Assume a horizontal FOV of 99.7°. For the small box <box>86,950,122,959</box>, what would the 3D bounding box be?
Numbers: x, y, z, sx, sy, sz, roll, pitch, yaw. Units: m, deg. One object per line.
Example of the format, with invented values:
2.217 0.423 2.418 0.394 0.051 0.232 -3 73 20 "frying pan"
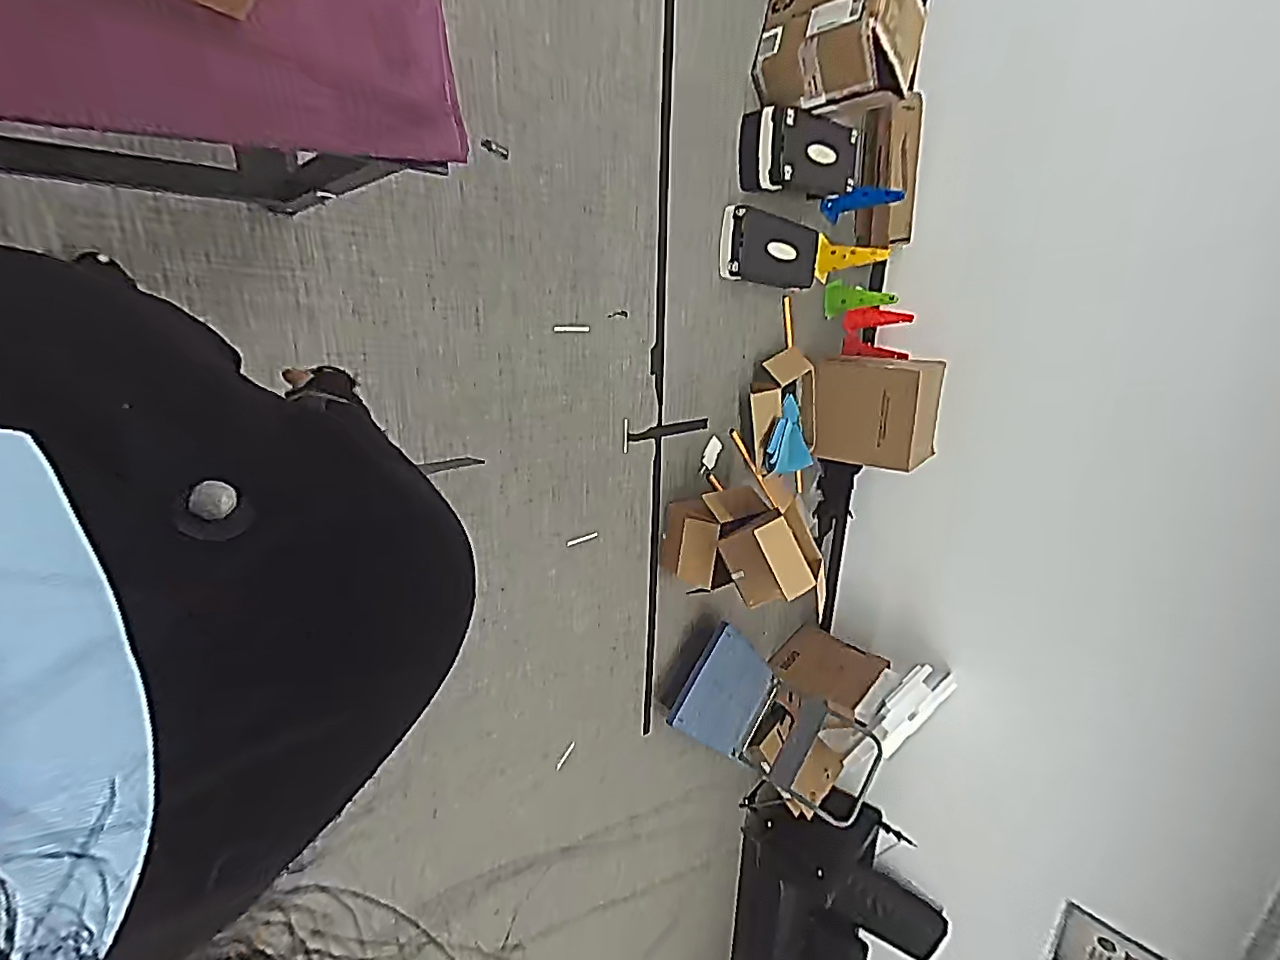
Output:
-1.244 1.203 1.193 0.168 0.176 0.179 -18 116 -41 "small box"
